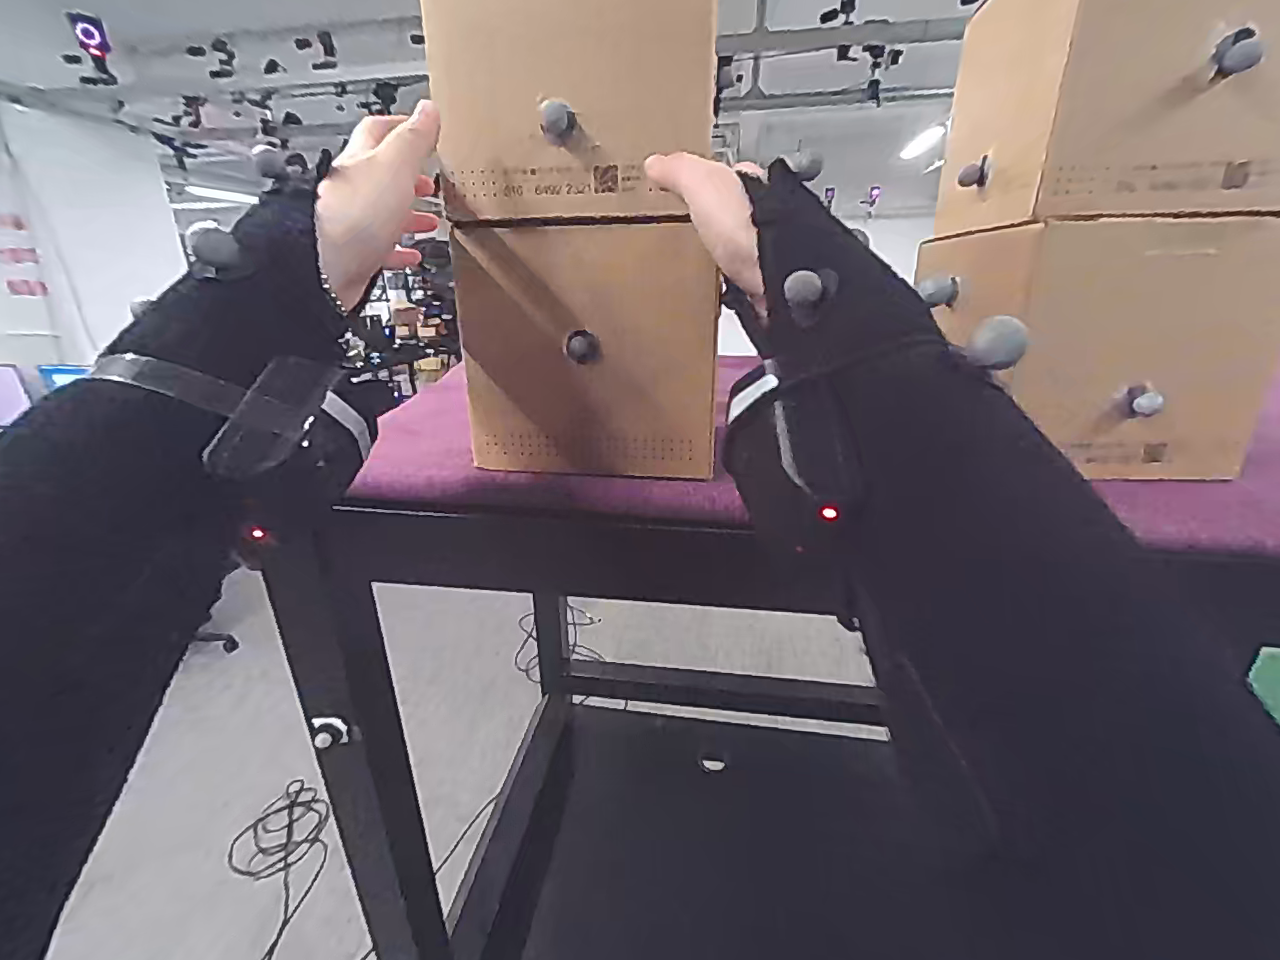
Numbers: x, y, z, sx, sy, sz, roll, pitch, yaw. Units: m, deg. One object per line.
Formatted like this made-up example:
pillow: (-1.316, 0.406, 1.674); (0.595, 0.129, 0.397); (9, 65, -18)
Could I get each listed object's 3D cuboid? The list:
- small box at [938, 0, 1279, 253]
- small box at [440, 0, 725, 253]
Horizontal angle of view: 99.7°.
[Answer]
small box: (0.335, -0.255, 0.376); (0.168, 0.176, 0.179); (2, 20, 7)
small box: (-0.028, -0.255, 0.380); (0.168, 0.176, 0.179); (1, 20, 6)
